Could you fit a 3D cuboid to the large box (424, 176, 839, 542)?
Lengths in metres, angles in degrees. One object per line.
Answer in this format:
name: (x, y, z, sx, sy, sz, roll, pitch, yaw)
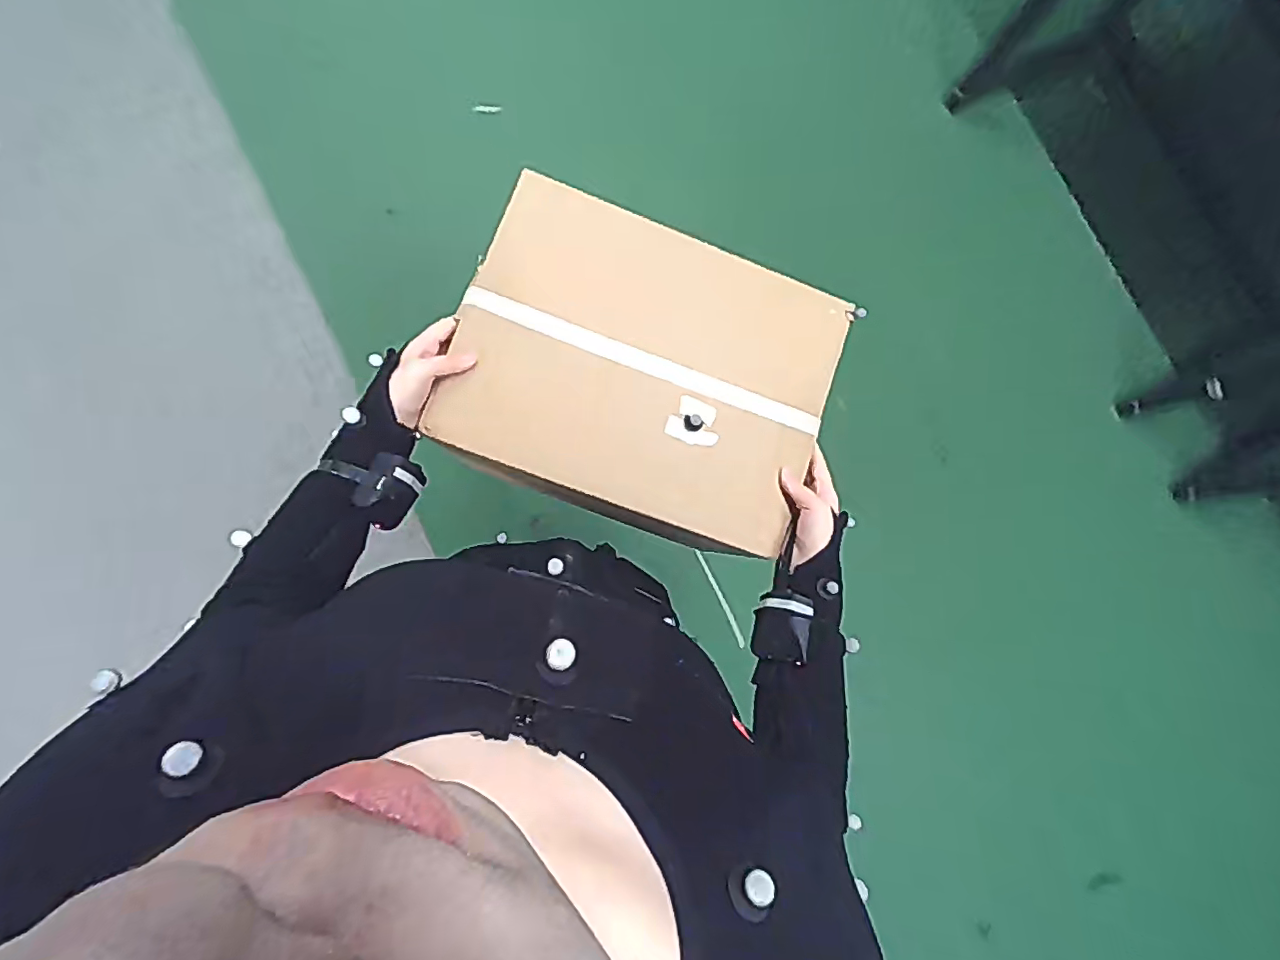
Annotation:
large box: (-0.018, -0.119, 0.741, 0.408, 0.320, 0.320, 19, 83, -7)
